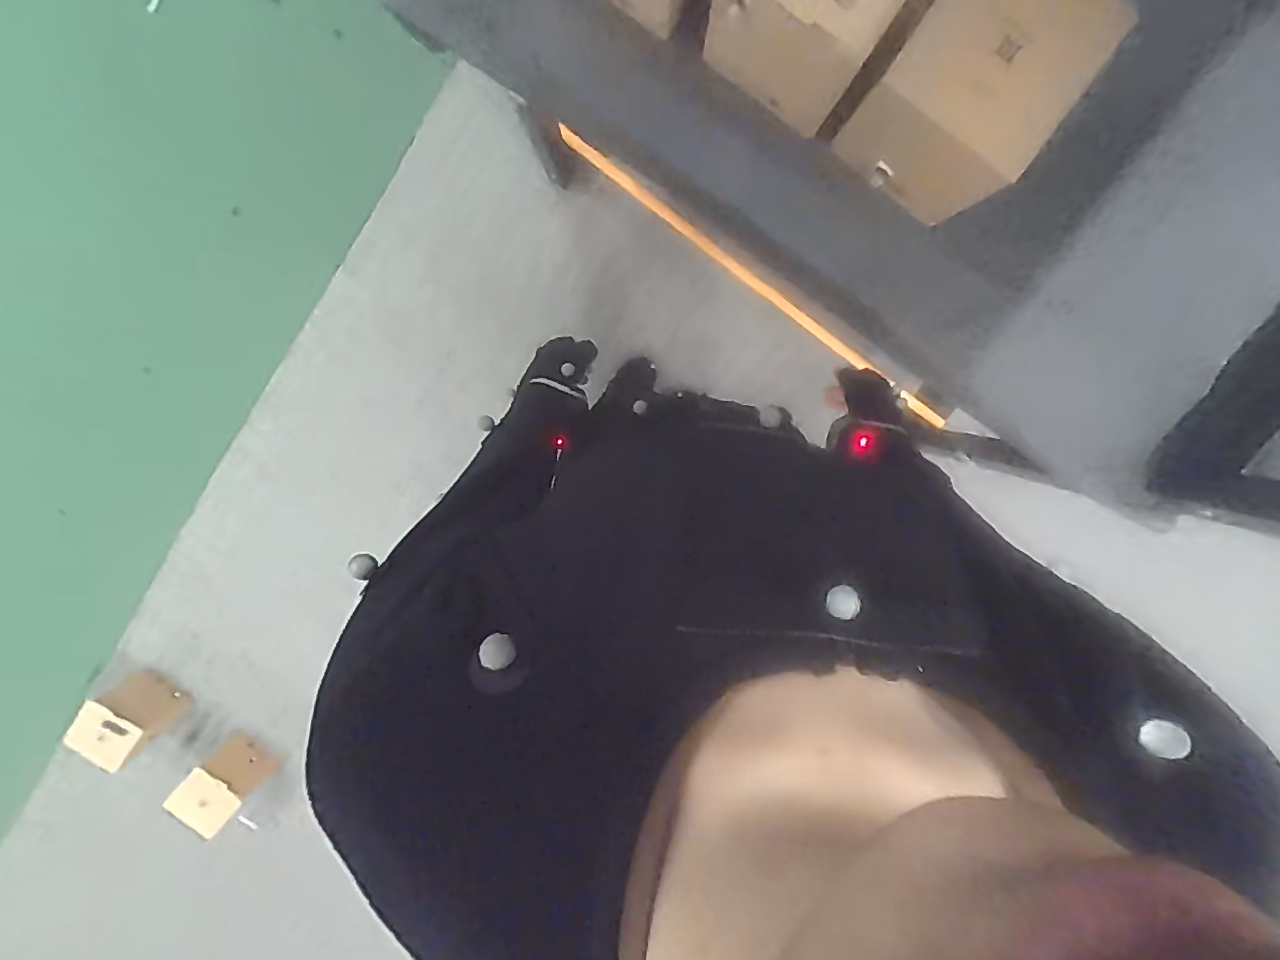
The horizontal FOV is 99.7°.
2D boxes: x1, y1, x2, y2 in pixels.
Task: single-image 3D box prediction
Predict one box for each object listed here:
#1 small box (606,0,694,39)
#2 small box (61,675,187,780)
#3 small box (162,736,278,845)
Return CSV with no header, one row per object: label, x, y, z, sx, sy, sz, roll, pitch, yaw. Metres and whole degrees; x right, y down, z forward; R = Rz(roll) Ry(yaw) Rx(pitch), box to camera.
small box,0.013,-0.620,0.548,0.168,0.176,0.179,33,99,-5
small box,-1.457,0.697,1.543,0.168,0.176,0.179,37,99,-6
small box,-1.212,0.899,1.576,0.168,0.176,0.179,42,97,-6
